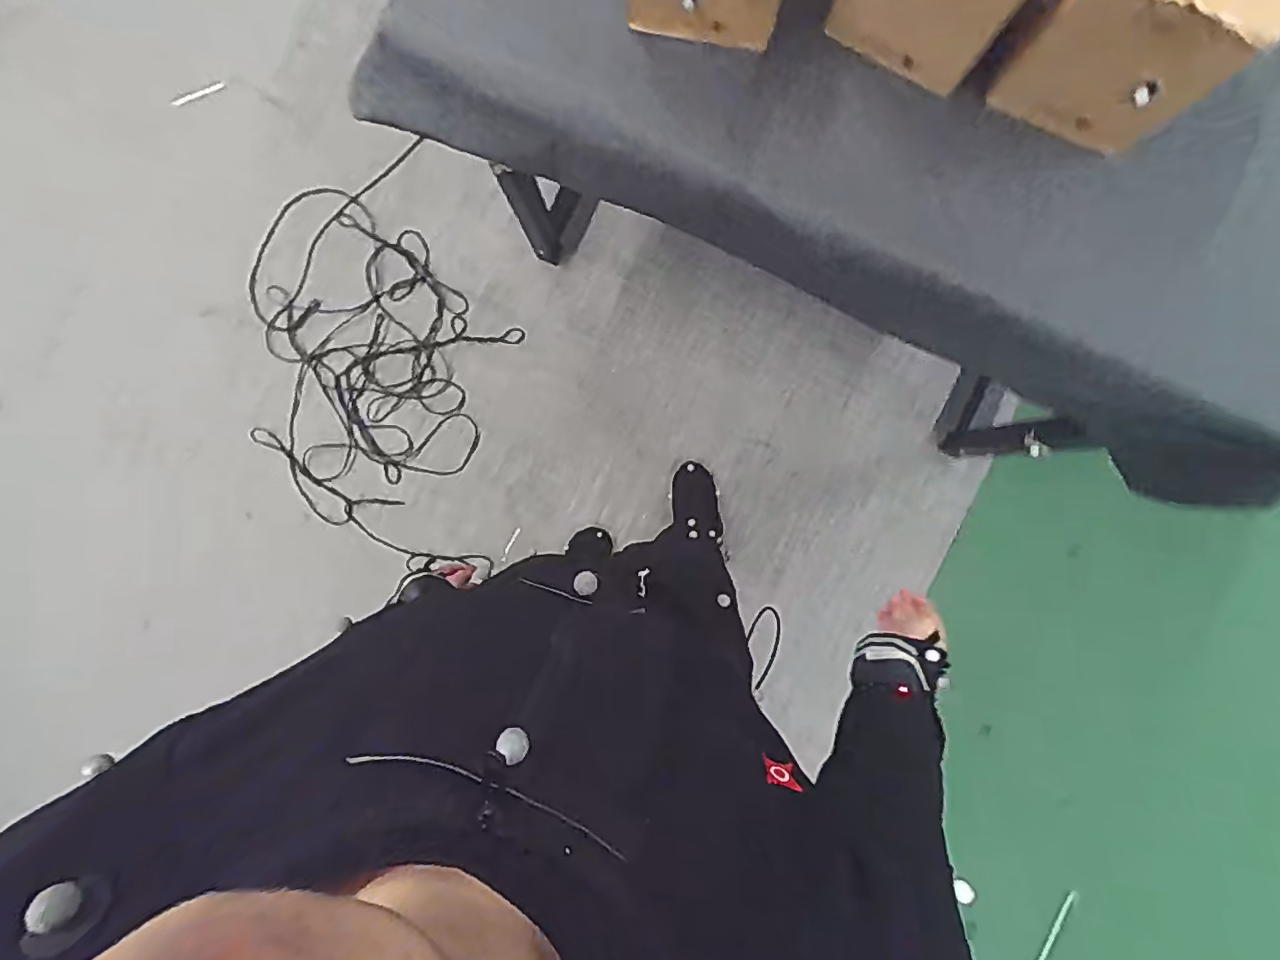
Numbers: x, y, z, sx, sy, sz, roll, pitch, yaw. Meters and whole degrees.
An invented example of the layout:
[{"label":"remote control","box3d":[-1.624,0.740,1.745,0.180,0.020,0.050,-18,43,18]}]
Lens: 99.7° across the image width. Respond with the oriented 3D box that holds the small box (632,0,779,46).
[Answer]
[{"label":"small box","box3d":[0.081,-0.602,0.548,0.168,0.176,0.179,10,91,0]}]
